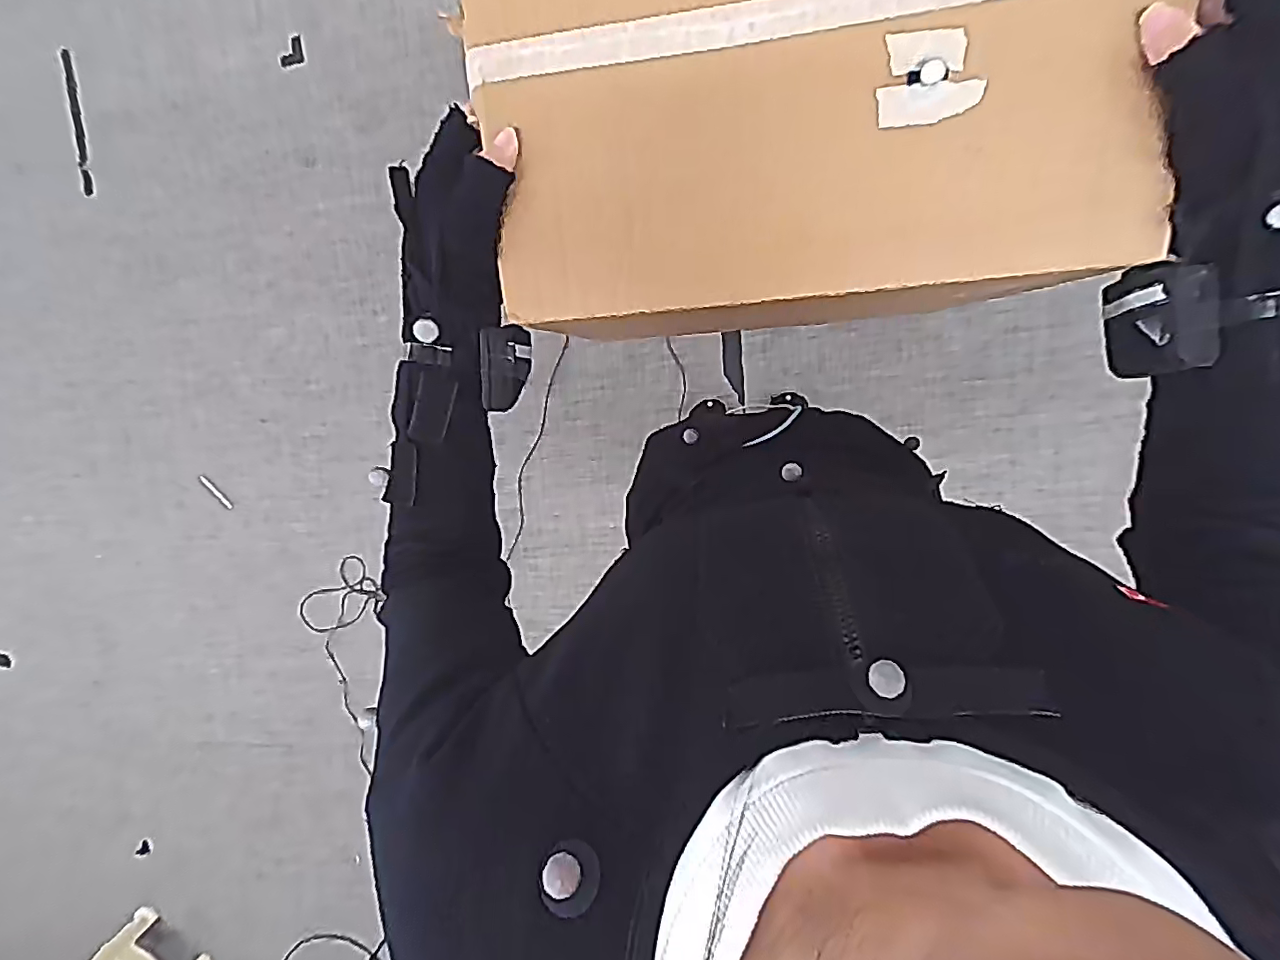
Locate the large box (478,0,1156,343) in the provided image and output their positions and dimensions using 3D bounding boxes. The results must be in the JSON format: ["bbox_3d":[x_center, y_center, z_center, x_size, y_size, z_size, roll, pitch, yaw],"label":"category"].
[{"bbox_3d":[0.110,-0.305,0.475,0.408,0.320,0.320,-4,102,7],"label":"large box"}]
